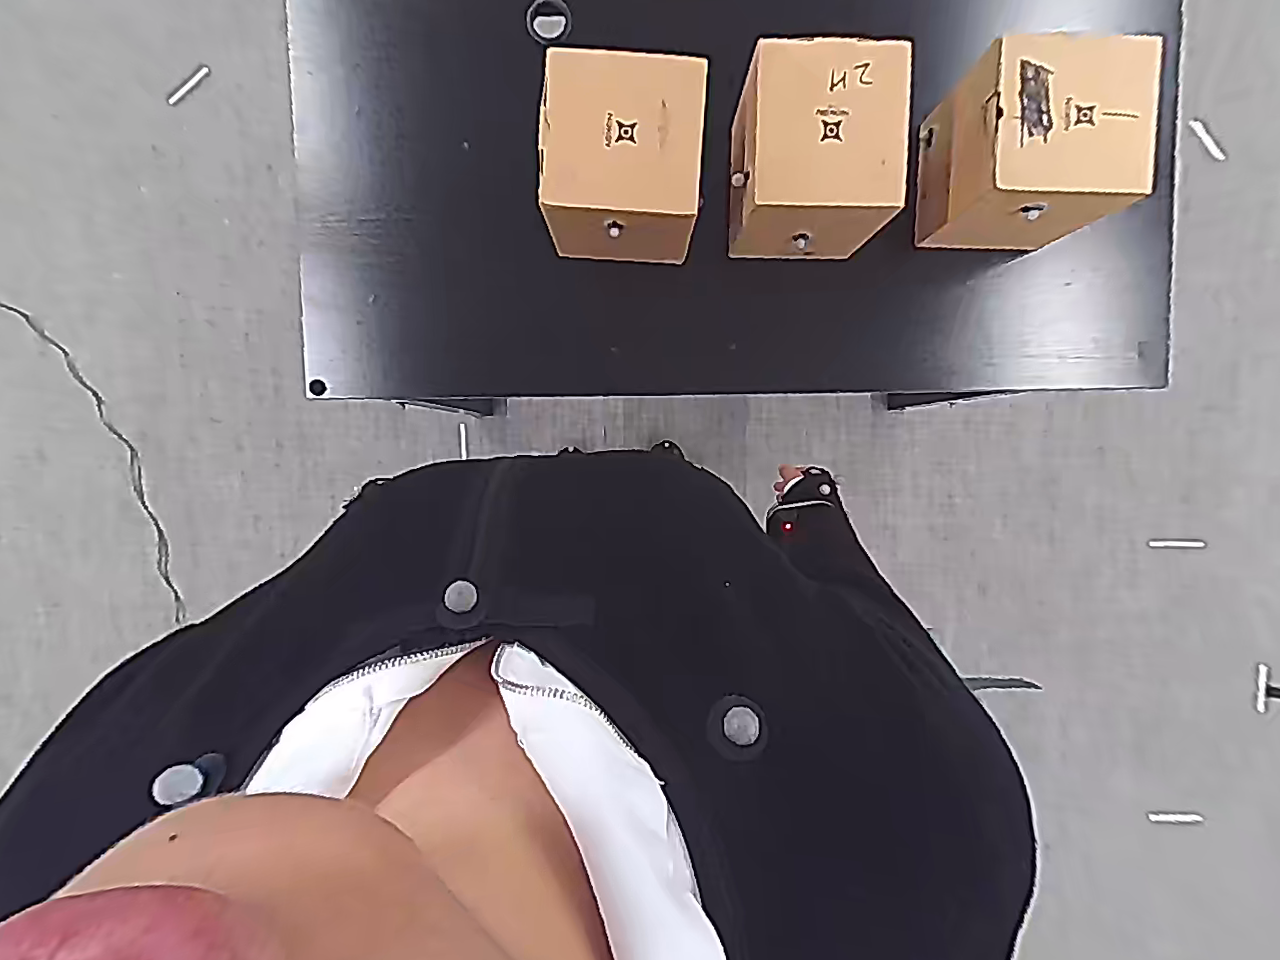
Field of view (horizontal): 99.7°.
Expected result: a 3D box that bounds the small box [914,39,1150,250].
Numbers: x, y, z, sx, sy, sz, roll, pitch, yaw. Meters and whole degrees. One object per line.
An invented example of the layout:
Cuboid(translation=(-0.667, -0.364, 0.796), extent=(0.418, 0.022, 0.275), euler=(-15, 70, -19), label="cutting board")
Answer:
Cuboid(translation=(0.468, -0.400, 0.673), extent=(0.179, 0.176, 0.168), euler=(2, 93, -1), label="small box")

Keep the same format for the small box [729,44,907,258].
Cuboid(translation=(0.207, -0.391, 0.673), extent=(0.168, 0.176, 0.179), euler=(1, 93, -1), label="small box")
